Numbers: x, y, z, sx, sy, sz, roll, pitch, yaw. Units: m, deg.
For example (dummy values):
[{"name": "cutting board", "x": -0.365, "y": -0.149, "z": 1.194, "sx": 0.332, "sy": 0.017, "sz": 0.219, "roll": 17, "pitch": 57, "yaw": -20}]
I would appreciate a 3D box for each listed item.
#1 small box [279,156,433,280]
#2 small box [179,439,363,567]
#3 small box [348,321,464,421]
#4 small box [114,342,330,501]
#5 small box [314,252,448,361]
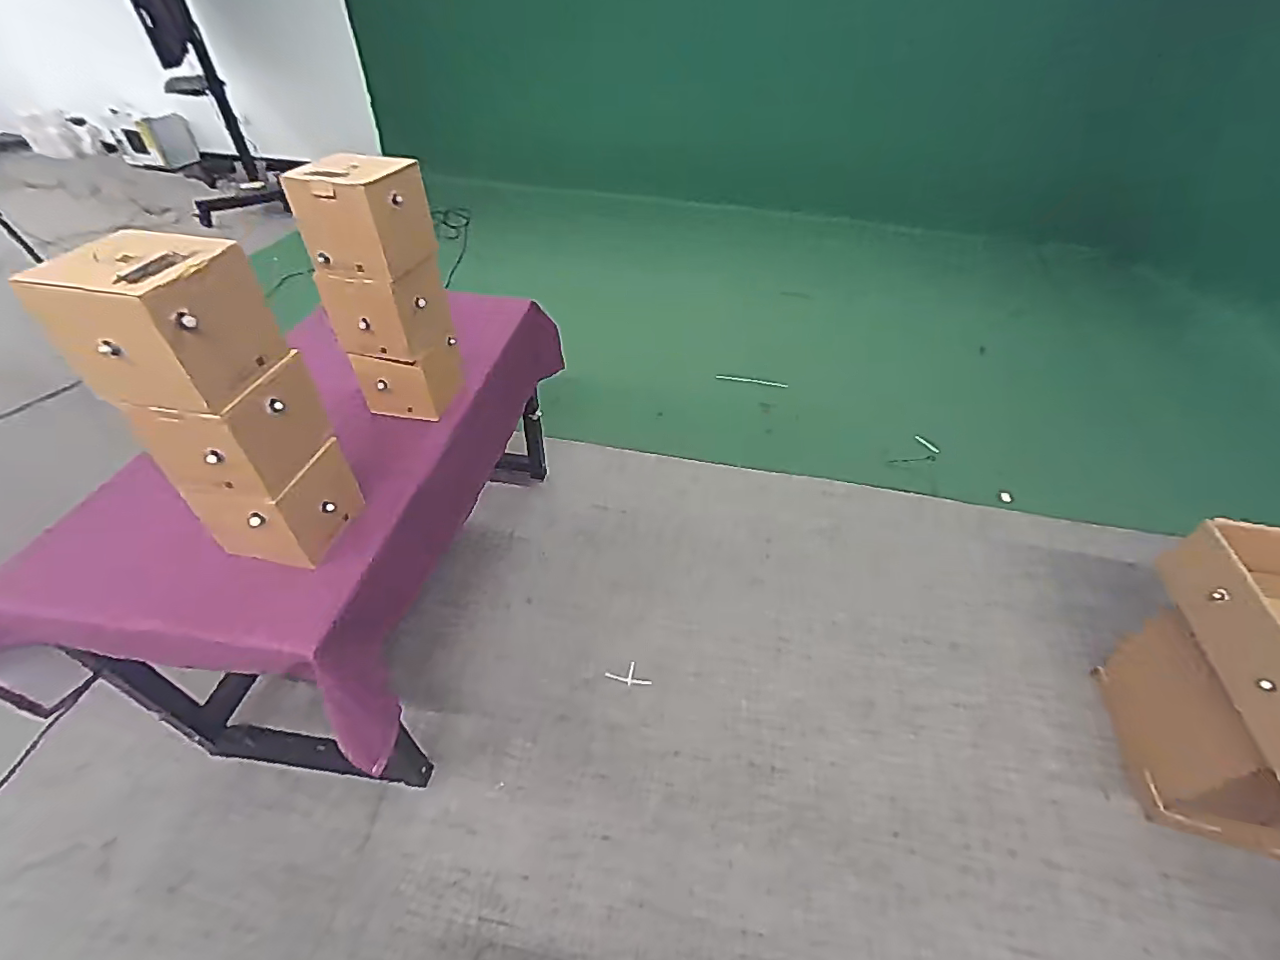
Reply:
[{"name": "small box", "x": -0.517, "y": -0.493, "z": 1.019, "sx": 0.168, "sy": 0.176, "sz": 0.179, "roll": 10, "pitch": 43, "yaw": 9}, {"name": "small box", "x": -0.624, "y": 0.031, "z": 0.946, "sx": 0.179, "sy": 0.176, "sz": 0.168, "roll": 8, "pitch": 44, "yaw": 7}, {"name": "small box", "x": -0.526, "y": -0.256, "z": 1.247, "sx": 0.168, "sy": 0.176, "sz": 0.179, "roll": 7, "pitch": 44, "yaw": 6}, {"name": "small box", "x": -0.620, "y": -0.089, "z": 0.836, "sx": 0.168, "sy": 0.176, "sz": 0.179, "roll": 8, "pitch": 44, "yaw": 5}, {"name": "small box", "x": -0.524, "y": -0.369, "z": 1.127, "sx": 0.168, "sy": 0.176, "sz": 0.179, "roll": 10, "pitch": 45, "yaw": 8}]
